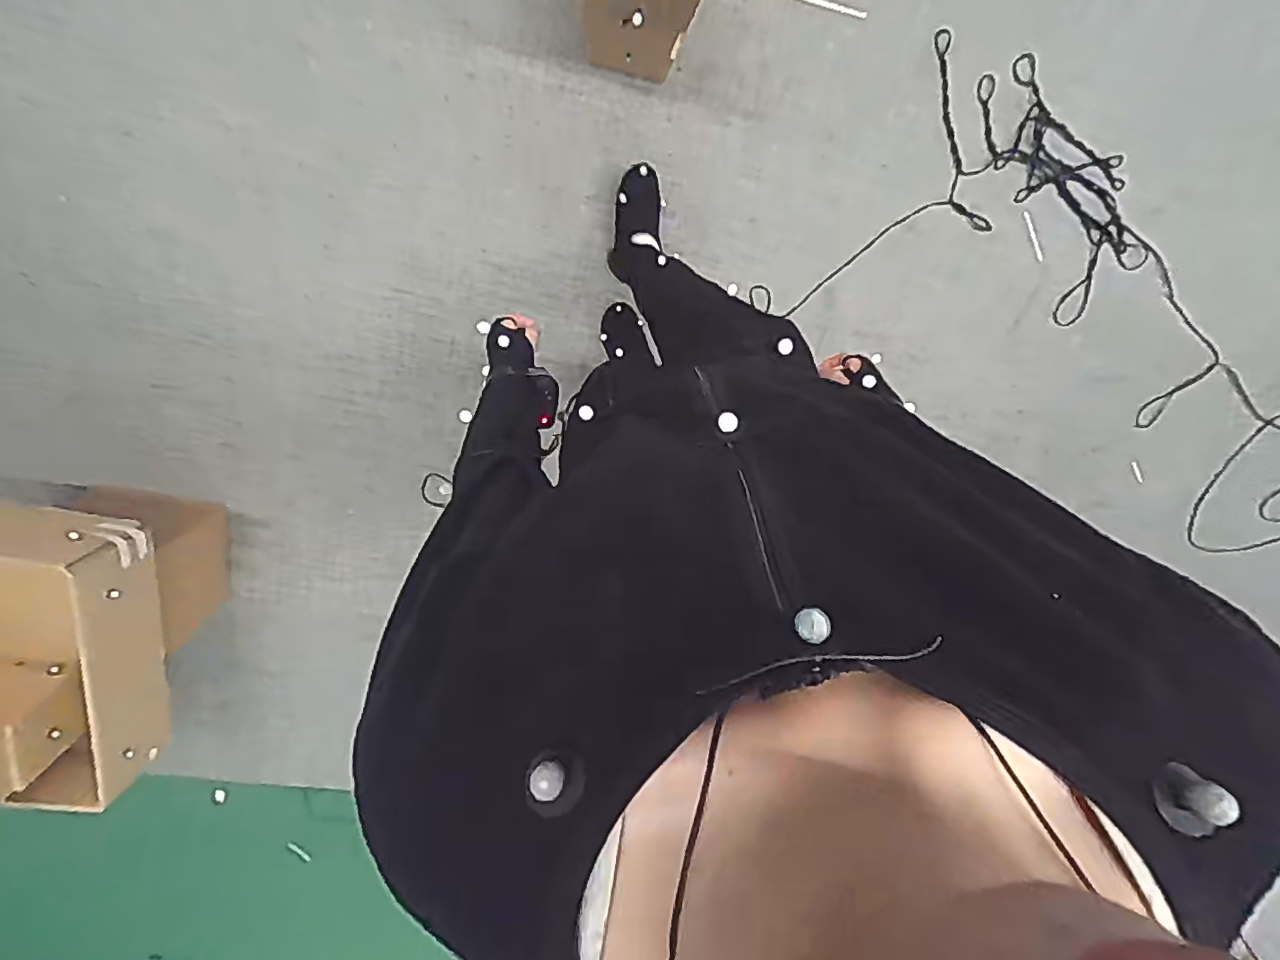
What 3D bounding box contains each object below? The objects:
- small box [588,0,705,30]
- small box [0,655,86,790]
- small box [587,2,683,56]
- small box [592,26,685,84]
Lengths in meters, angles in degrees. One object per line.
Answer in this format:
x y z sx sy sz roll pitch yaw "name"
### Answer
0.020 -0.806 0.798 0.179 0.176 0.168 8 111 -9 "small box"
-1.274 0.478 1.083 0.168 0.176 0.179 13 109 -10 "small box"
0.005 -0.881 0.943 0.179 0.176 0.168 10 112 -9 "small box"
0.002 -0.939 1.097 0.179 0.176 0.168 9 111 -9 "small box"
